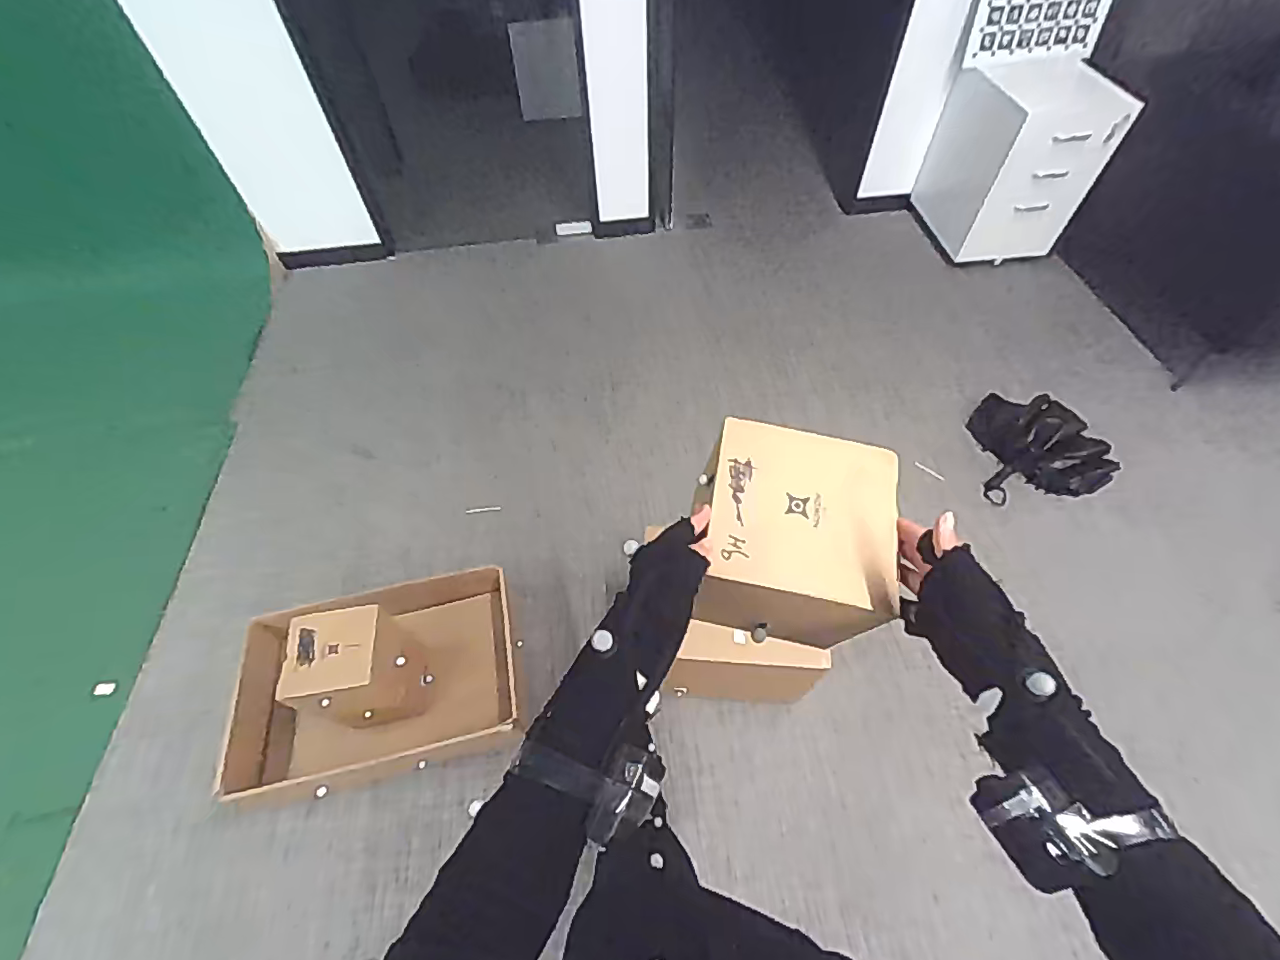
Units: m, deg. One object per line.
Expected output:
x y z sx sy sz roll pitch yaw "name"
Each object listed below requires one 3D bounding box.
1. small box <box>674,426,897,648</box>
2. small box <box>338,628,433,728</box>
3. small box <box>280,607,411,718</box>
0.144 0.071 0.569 0.179 0.176 0.168 12 63 0 "small box"
-0.606 0.471 1.275 0.179 0.176 0.168 -10 56 -7 "small box"
-0.605 0.385 1.133 0.179 0.176 0.168 -8 55 -5 "small box"
